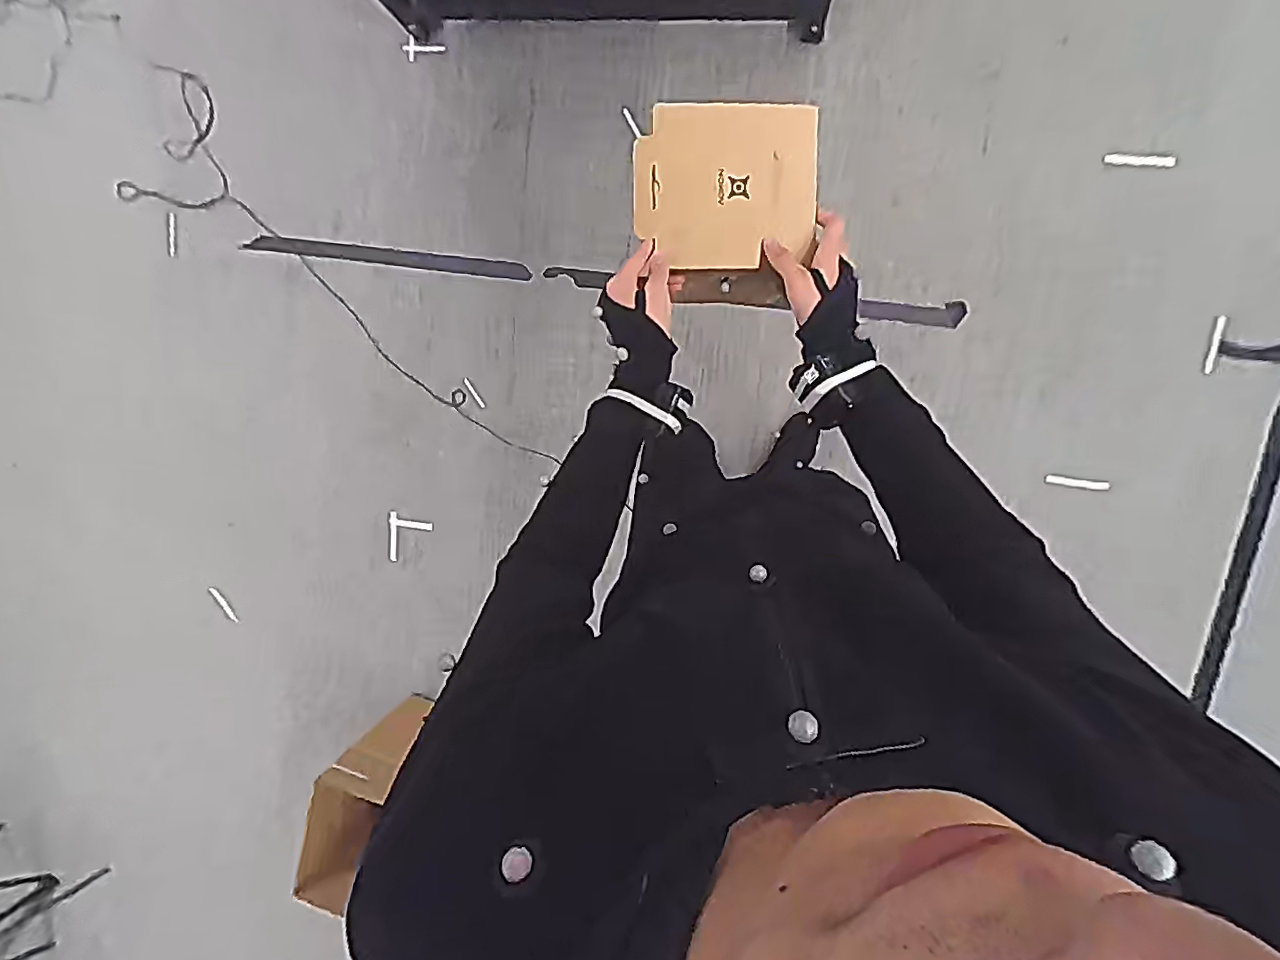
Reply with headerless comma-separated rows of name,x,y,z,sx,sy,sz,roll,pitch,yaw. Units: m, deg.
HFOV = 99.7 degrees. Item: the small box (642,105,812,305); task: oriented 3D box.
small box,0.091,-0.310,0.643,0.179,0.176,0.168,-2,95,-2
